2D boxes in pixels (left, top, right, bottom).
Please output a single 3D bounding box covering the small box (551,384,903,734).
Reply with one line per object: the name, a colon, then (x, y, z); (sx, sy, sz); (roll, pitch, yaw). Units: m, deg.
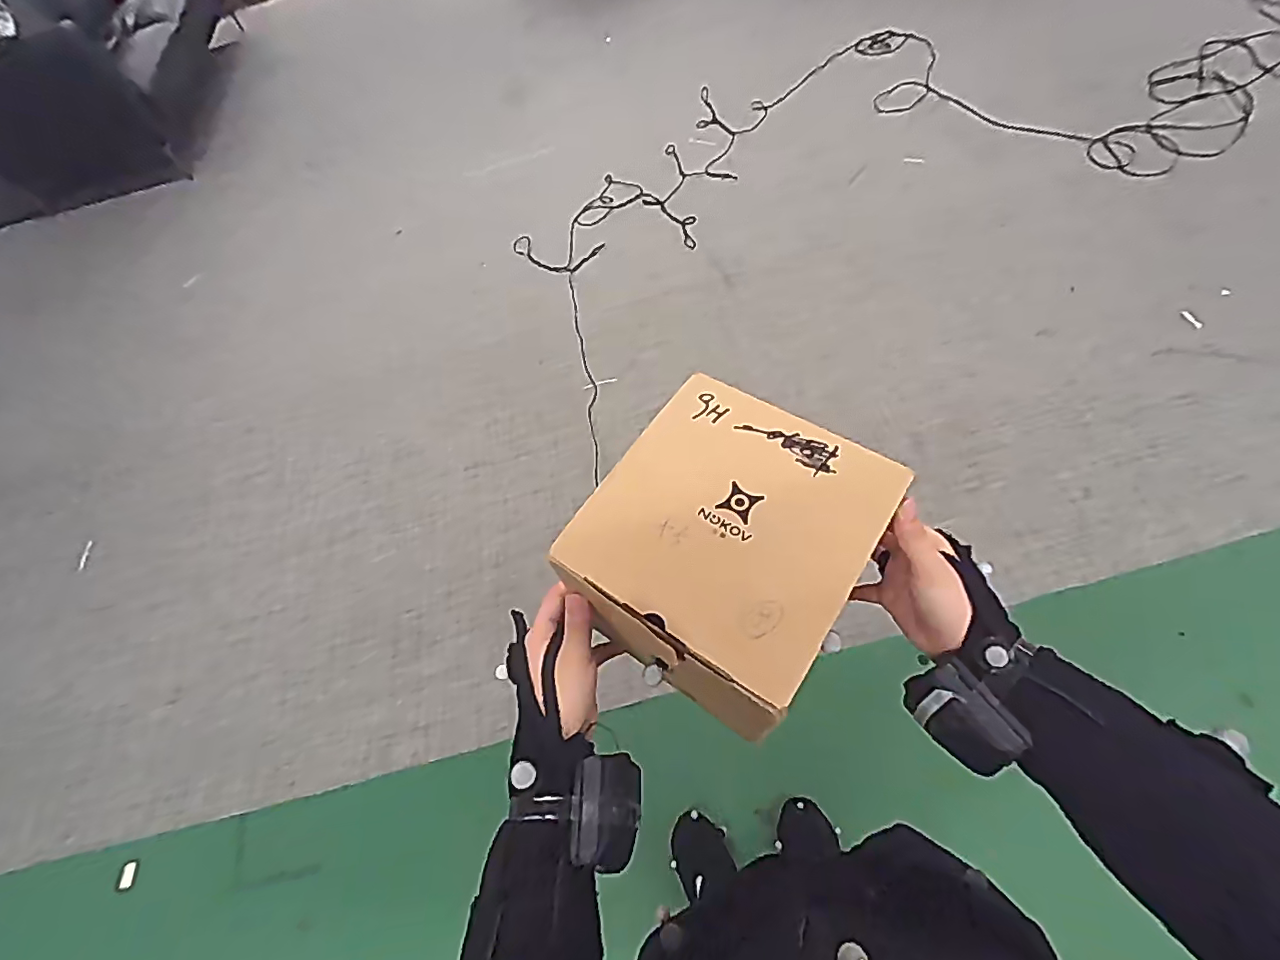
small box: (0.065, 0.067, 0.414); (0.168, 0.176, 0.179); (30, 68, 22)
